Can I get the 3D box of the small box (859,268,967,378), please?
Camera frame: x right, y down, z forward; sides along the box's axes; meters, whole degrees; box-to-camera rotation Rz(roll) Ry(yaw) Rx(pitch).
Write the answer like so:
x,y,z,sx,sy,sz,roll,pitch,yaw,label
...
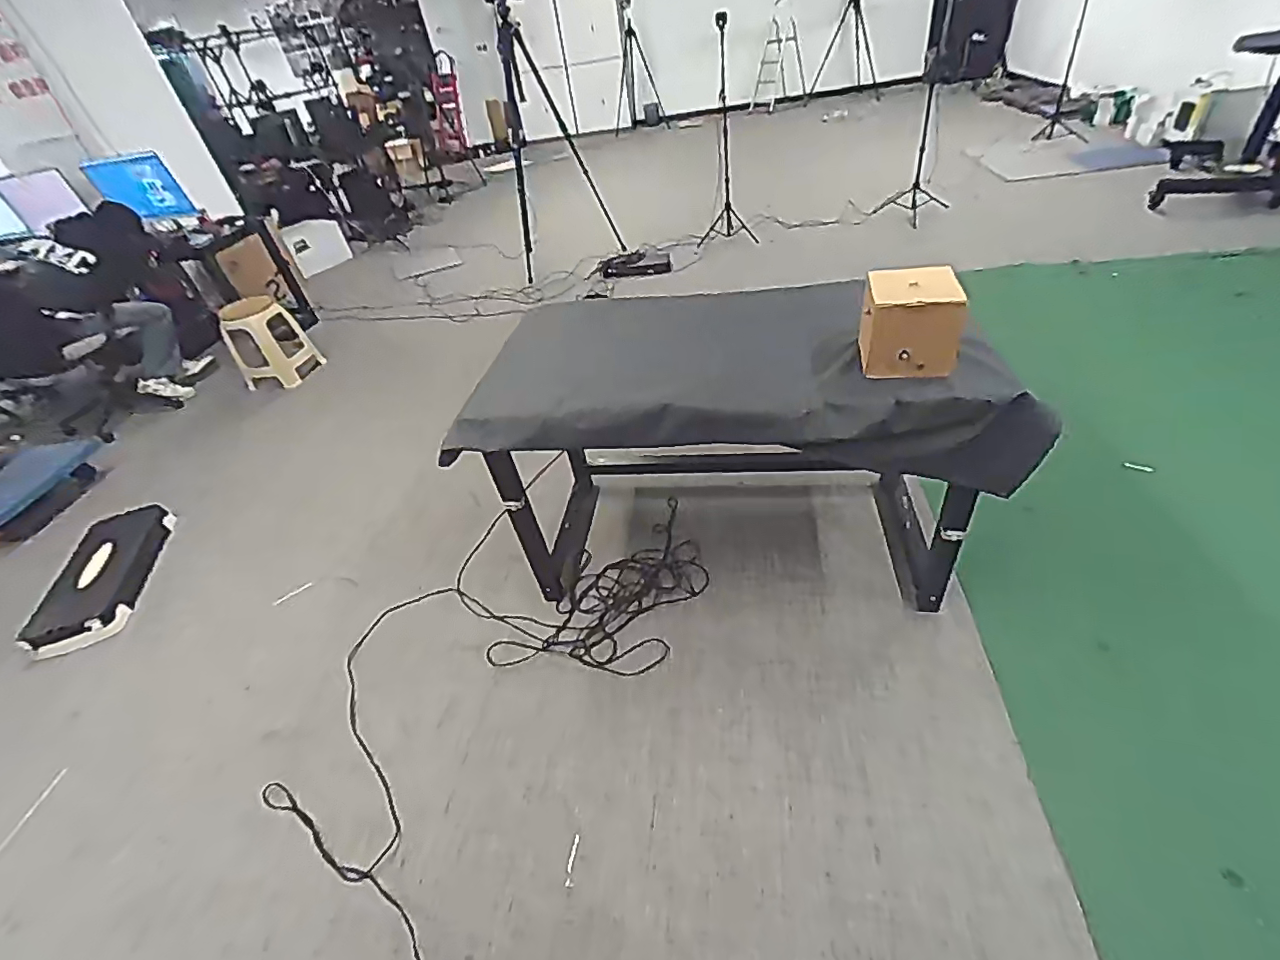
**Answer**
x,y,z,sx,sy,sz,roll,pitch,yaw,label
0.568,-0.333,1.150,0.168,0.176,0.179,1,41,15,small box
